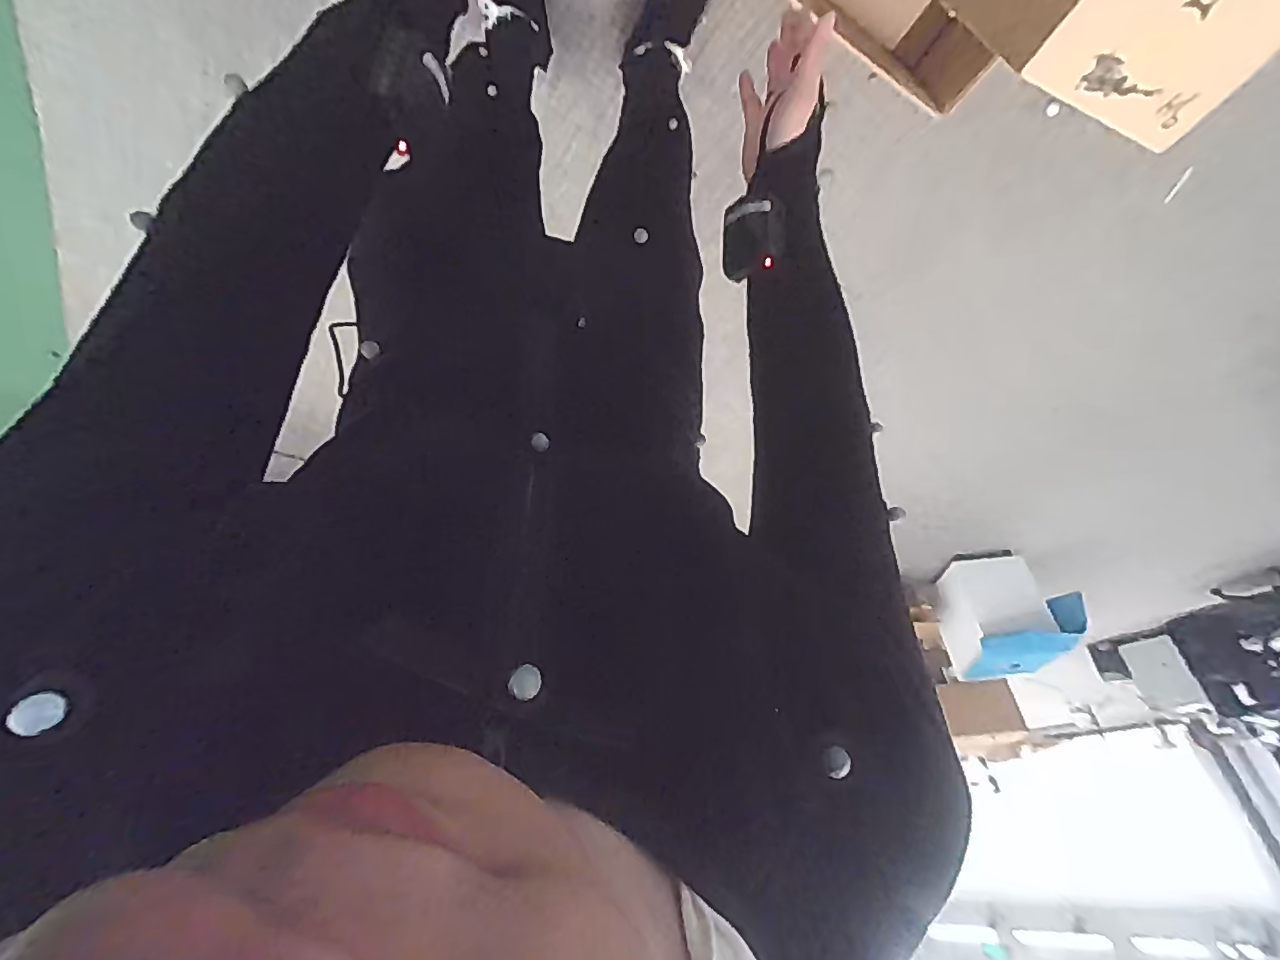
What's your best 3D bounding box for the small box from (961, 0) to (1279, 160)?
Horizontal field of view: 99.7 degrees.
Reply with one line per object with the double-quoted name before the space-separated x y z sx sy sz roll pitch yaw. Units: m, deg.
"small box" 0.377 -0.380 0.383 0.168 0.176 0.179 10 144 -19
